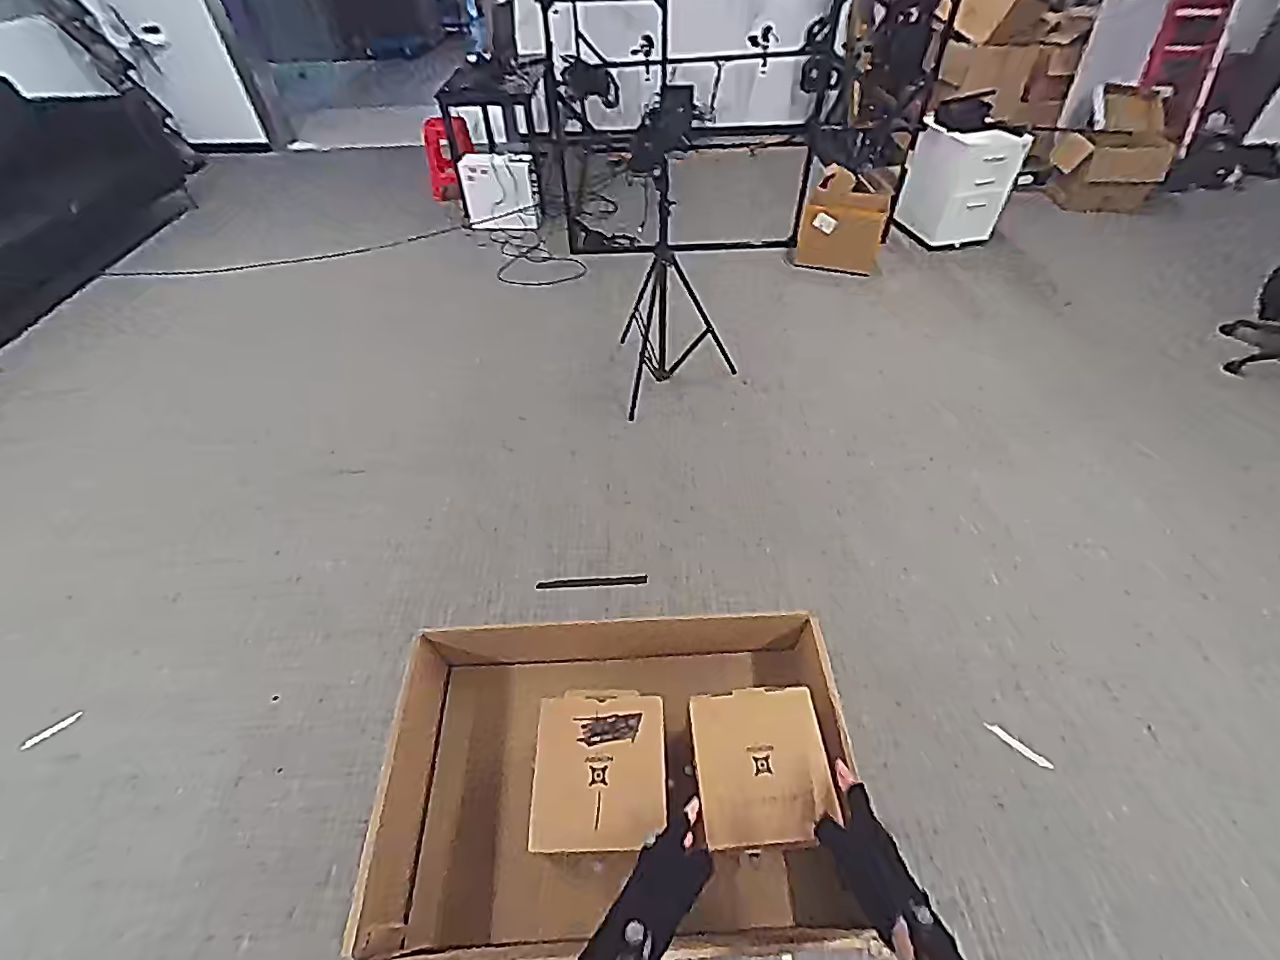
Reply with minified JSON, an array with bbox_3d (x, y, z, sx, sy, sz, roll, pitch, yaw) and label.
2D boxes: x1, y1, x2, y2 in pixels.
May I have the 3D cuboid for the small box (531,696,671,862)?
[{"bbox_3d":[-0.046,0.412,0.741,0.168,0.176,0.179,-2,52,0],"label":"small box"}]
